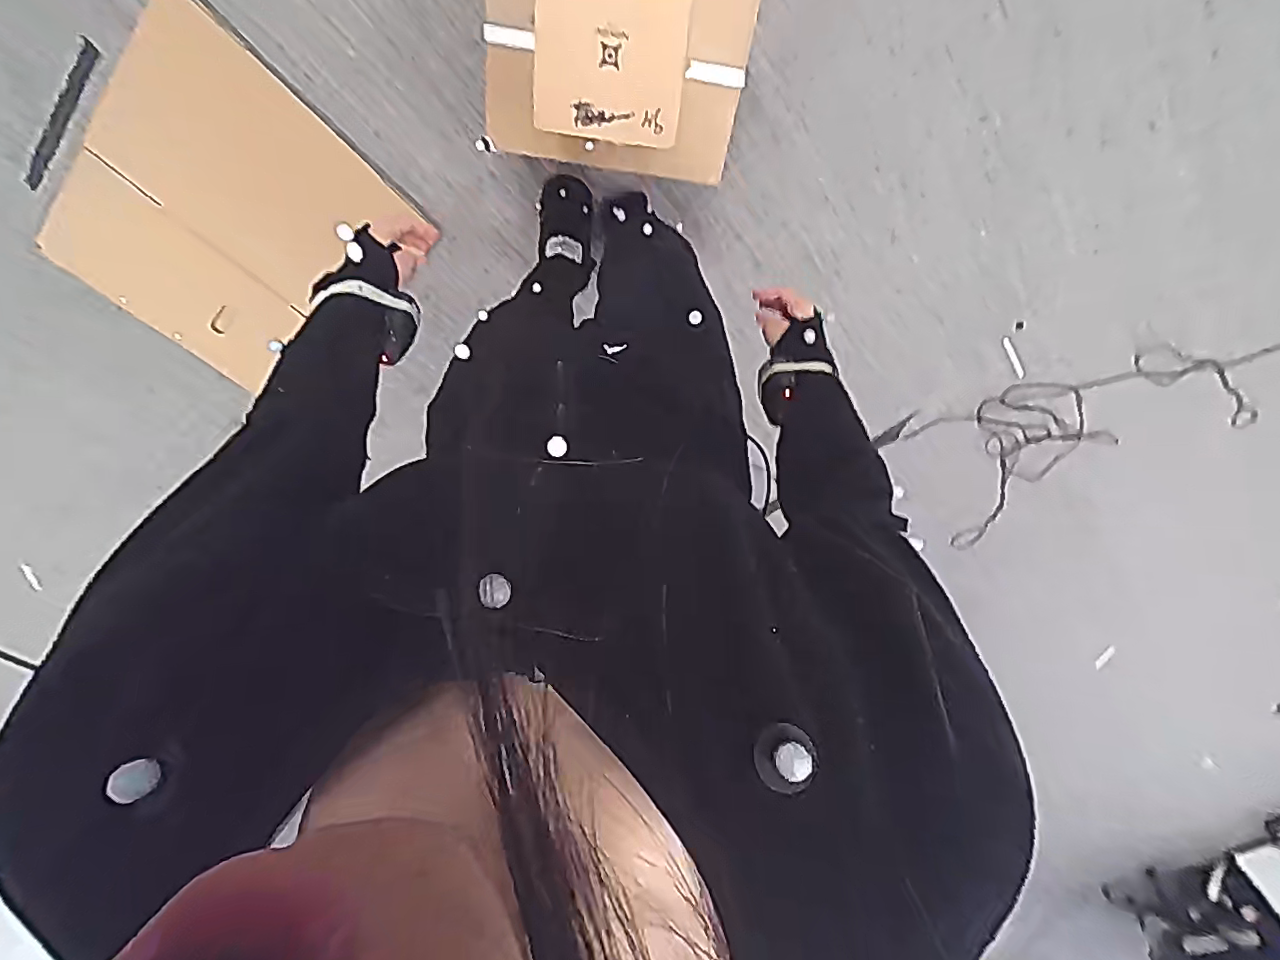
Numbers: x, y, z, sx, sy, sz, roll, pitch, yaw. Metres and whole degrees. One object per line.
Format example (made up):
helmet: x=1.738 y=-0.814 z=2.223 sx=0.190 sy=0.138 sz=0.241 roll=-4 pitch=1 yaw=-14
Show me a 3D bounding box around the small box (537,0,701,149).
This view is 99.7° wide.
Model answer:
small box: x=-0.028 y=-0.509 z=0.642 sx=0.168 sy=0.176 sz=0.179 roll=6 pitch=123 yaw=-6
